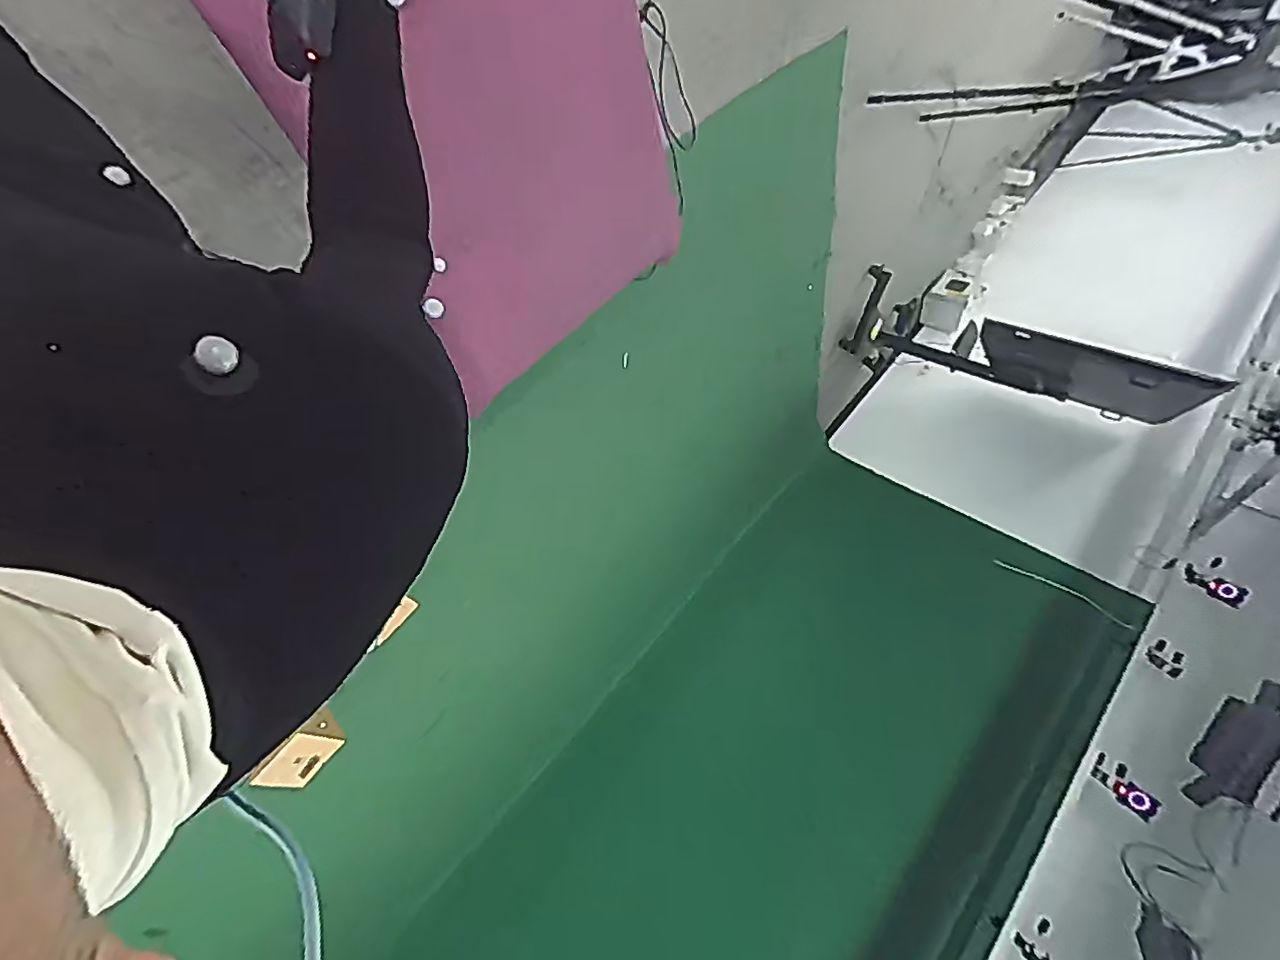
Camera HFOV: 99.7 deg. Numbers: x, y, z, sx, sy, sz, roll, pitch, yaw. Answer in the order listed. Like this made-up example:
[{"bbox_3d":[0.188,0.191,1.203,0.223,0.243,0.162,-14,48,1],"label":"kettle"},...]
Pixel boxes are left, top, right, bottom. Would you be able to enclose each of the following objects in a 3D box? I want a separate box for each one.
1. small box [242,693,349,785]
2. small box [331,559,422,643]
[{"bbox_3d":[-0.993,0.744,1.561,0.168,0.176,0.179,-49,144,-12],"label":"small box"},{"bbox_3d":[-0.853,0.387,1.749,0.179,0.176,0.168,-46,146,-17],"label":"small box"}]
